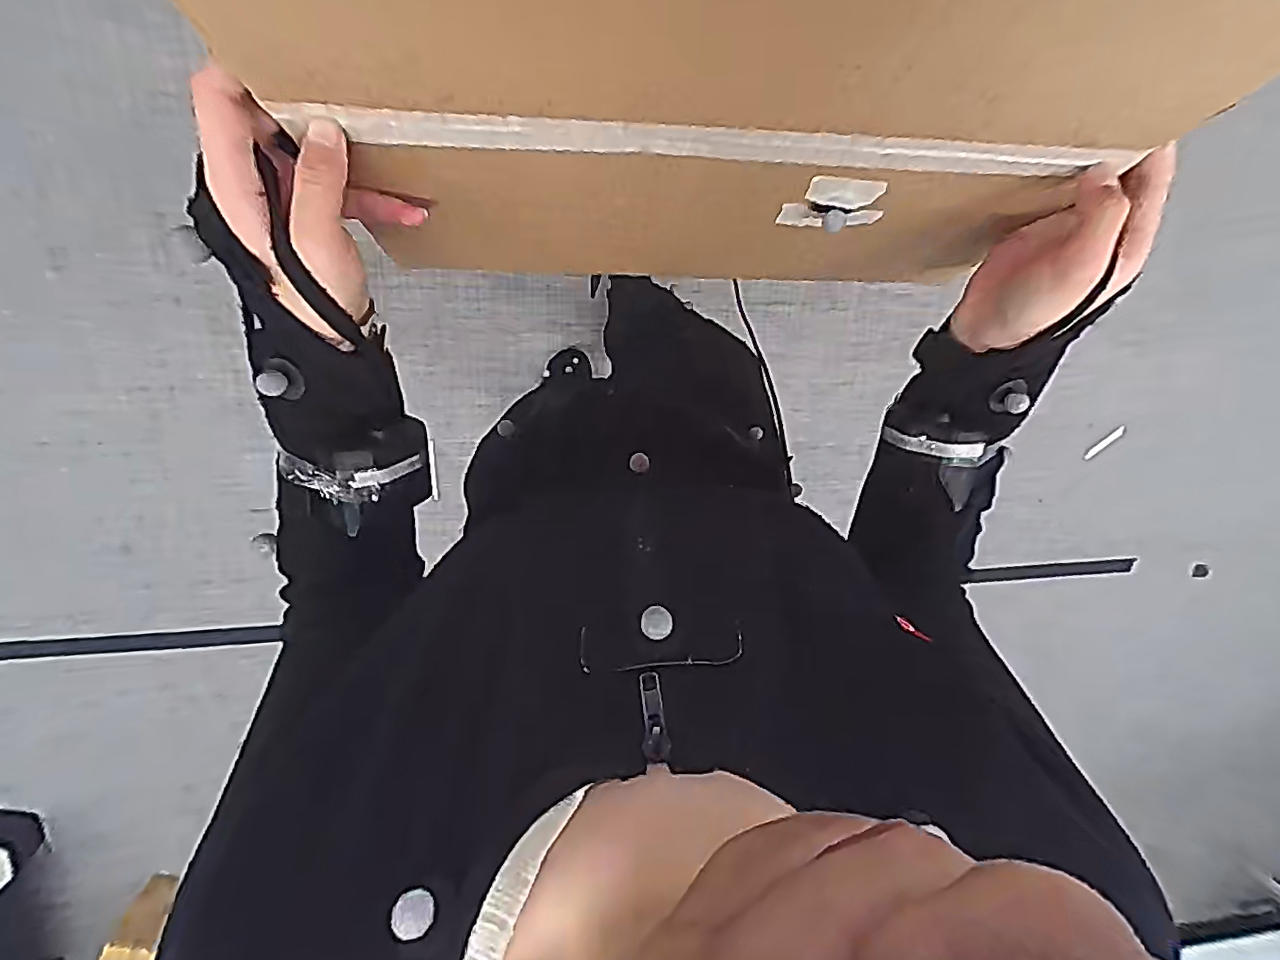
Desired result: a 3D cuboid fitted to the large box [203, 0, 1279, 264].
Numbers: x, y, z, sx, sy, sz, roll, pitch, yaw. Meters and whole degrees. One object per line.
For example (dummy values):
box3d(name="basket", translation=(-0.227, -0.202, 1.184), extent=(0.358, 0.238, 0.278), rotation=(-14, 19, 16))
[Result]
box3d(name="large box", translation=(0.035, -0.317, 0.256), extent=(0.408, 0.320, 0.320), rotation=(-2, 89, -5))
